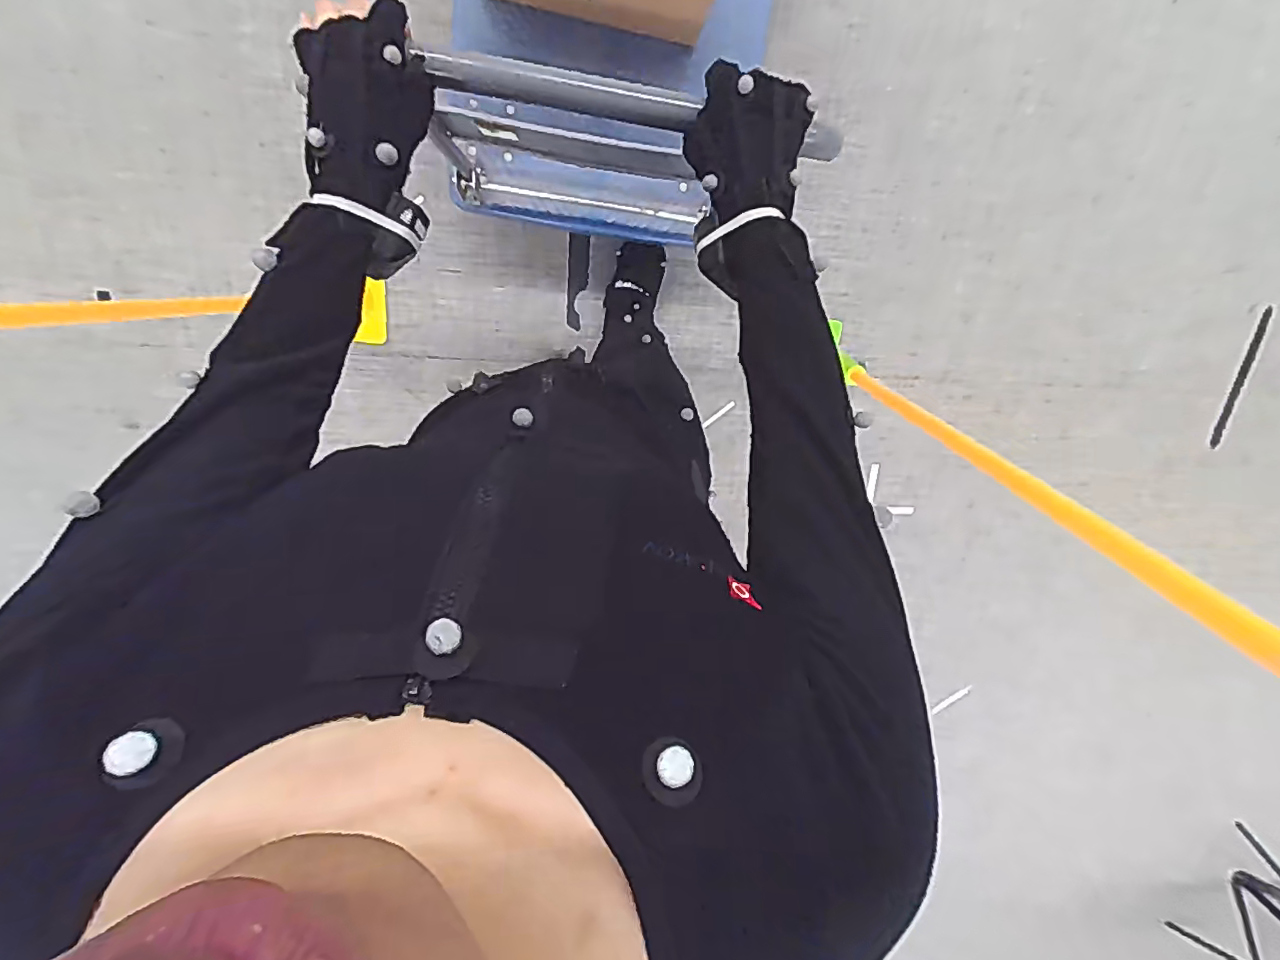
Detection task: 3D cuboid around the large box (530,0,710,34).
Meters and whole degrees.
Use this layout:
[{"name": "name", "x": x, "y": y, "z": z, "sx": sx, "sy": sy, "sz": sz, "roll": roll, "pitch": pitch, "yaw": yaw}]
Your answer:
[{"name": "large box", "x": -0.058, "y": -0.948, "z": 0.814, "sx": 0.408, "sy": 0.320, "sz": 0.320, "roll": 8, "pitch": 110, "yaw": -6}]
